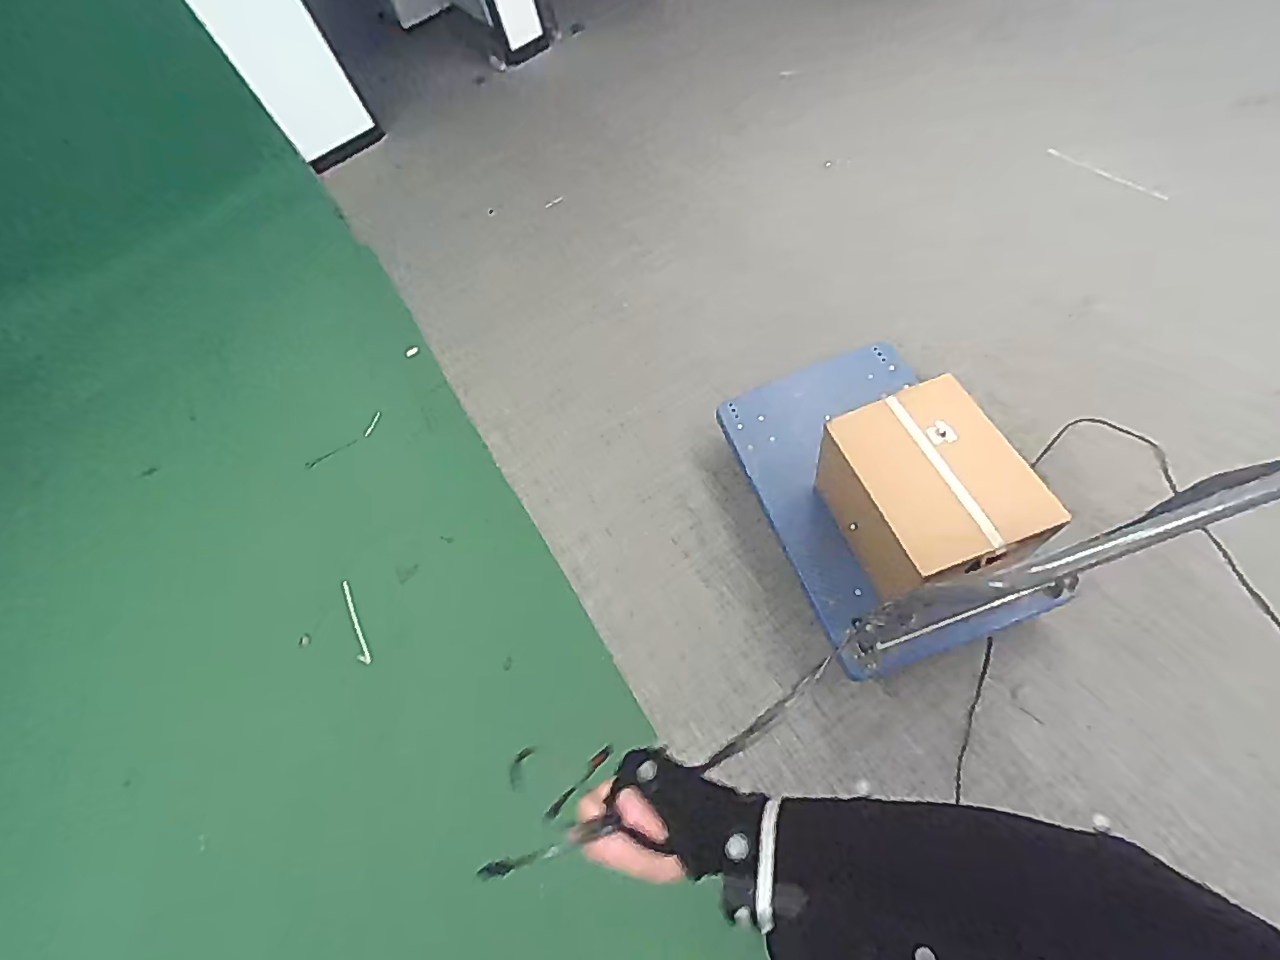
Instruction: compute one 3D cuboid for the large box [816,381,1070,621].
[{"bbox_3d":[0.652,0.056,1.259,0.320,0.320,0.408,-21,58,1],"label":"large box"}]
